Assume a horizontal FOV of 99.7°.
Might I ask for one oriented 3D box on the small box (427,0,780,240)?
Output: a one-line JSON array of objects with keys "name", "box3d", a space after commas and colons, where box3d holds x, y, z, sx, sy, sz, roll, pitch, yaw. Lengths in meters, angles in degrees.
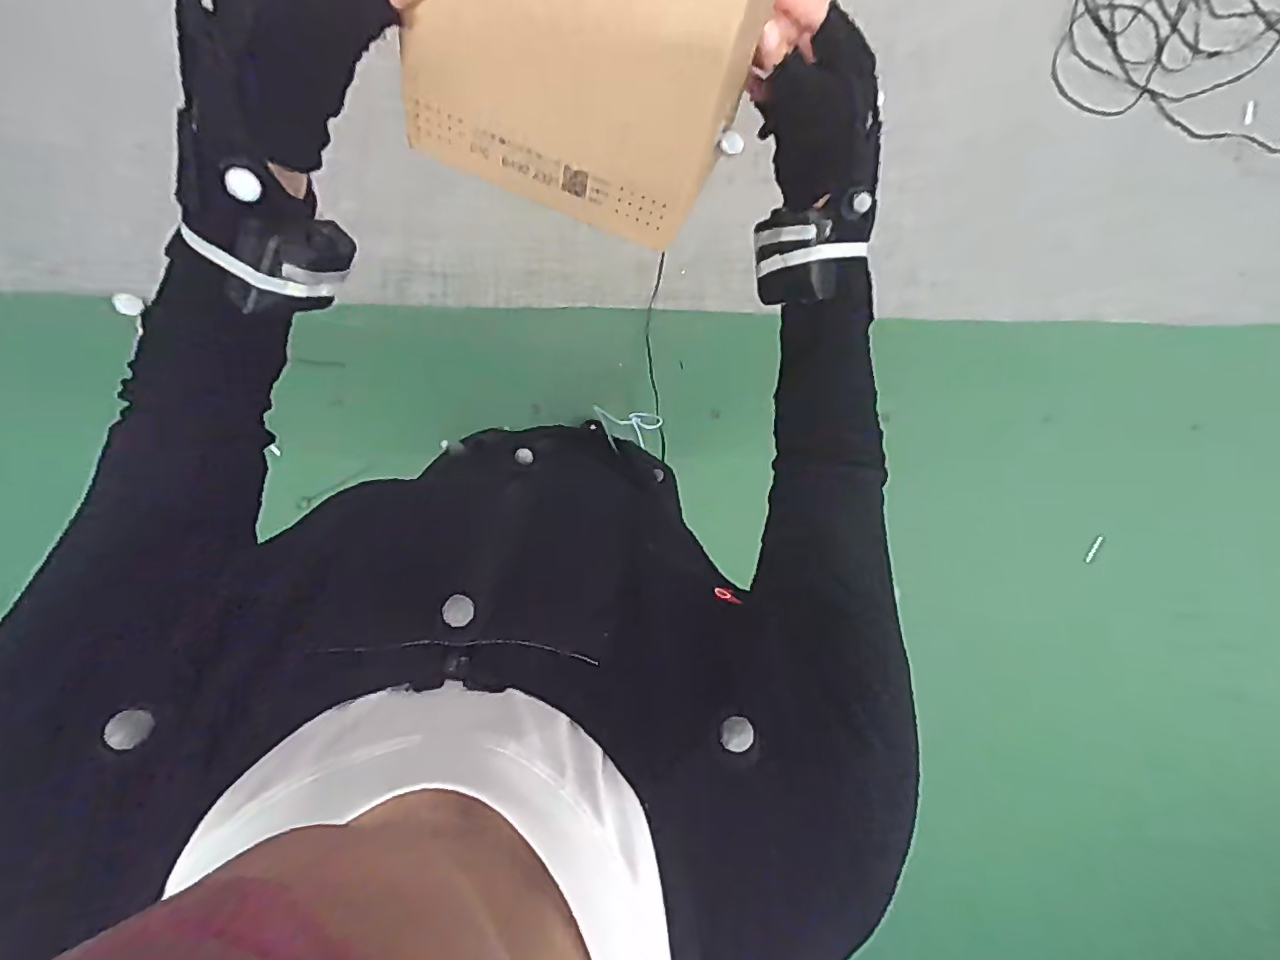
[{"name": "small box", "box3d": [-0.012, -0.278, 0.317, 0.168, 0.176, 0.179, 22, 50, -1]}]
